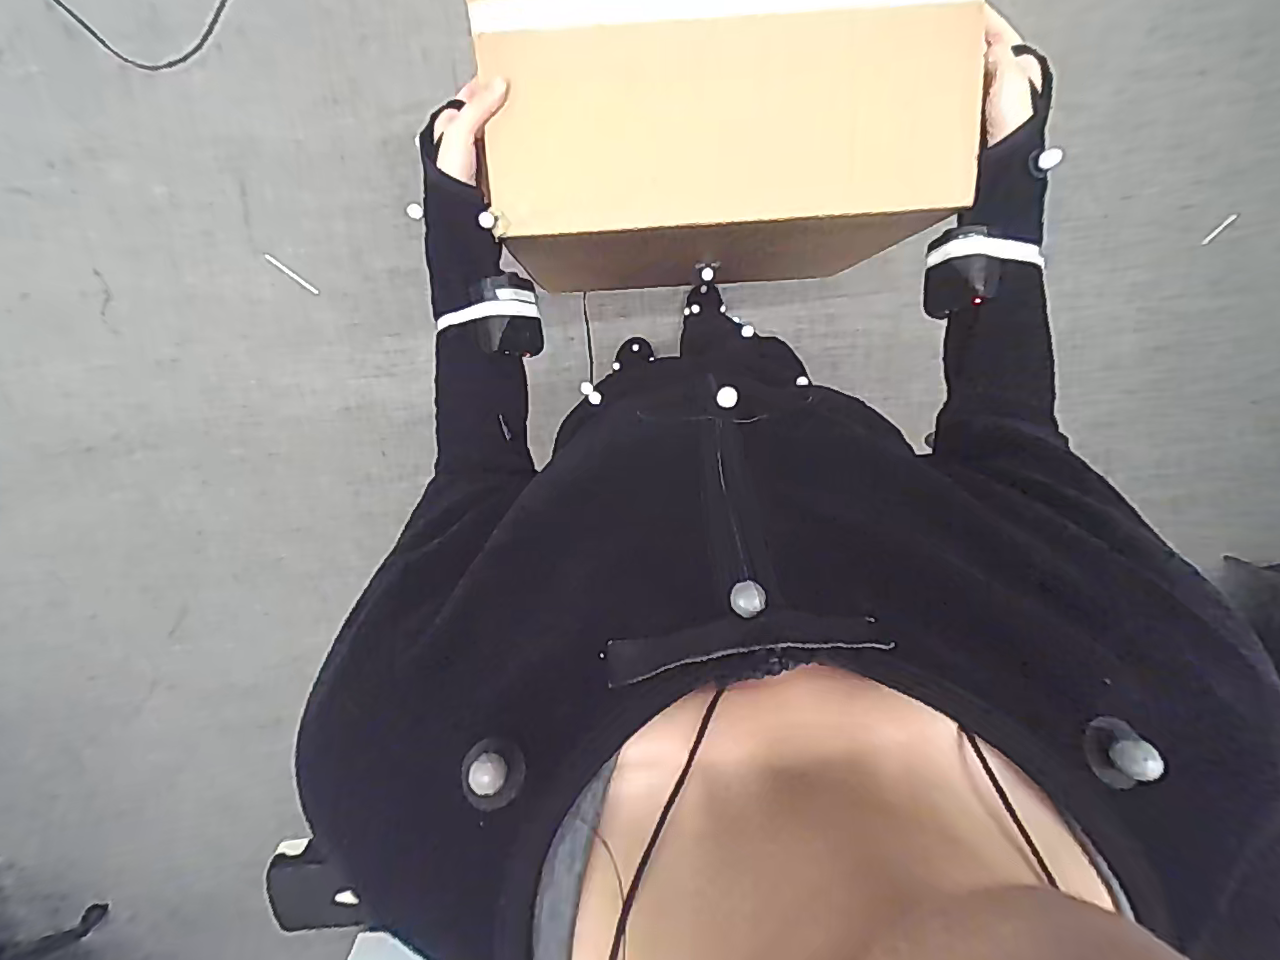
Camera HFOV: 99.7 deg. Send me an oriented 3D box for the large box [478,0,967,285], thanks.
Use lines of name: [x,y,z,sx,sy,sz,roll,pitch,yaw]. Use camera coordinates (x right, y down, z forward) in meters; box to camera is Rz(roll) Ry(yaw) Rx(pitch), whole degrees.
large box: [0.069,-0.405,0.583,0.408,0.320,0.320,-4,100,0]
